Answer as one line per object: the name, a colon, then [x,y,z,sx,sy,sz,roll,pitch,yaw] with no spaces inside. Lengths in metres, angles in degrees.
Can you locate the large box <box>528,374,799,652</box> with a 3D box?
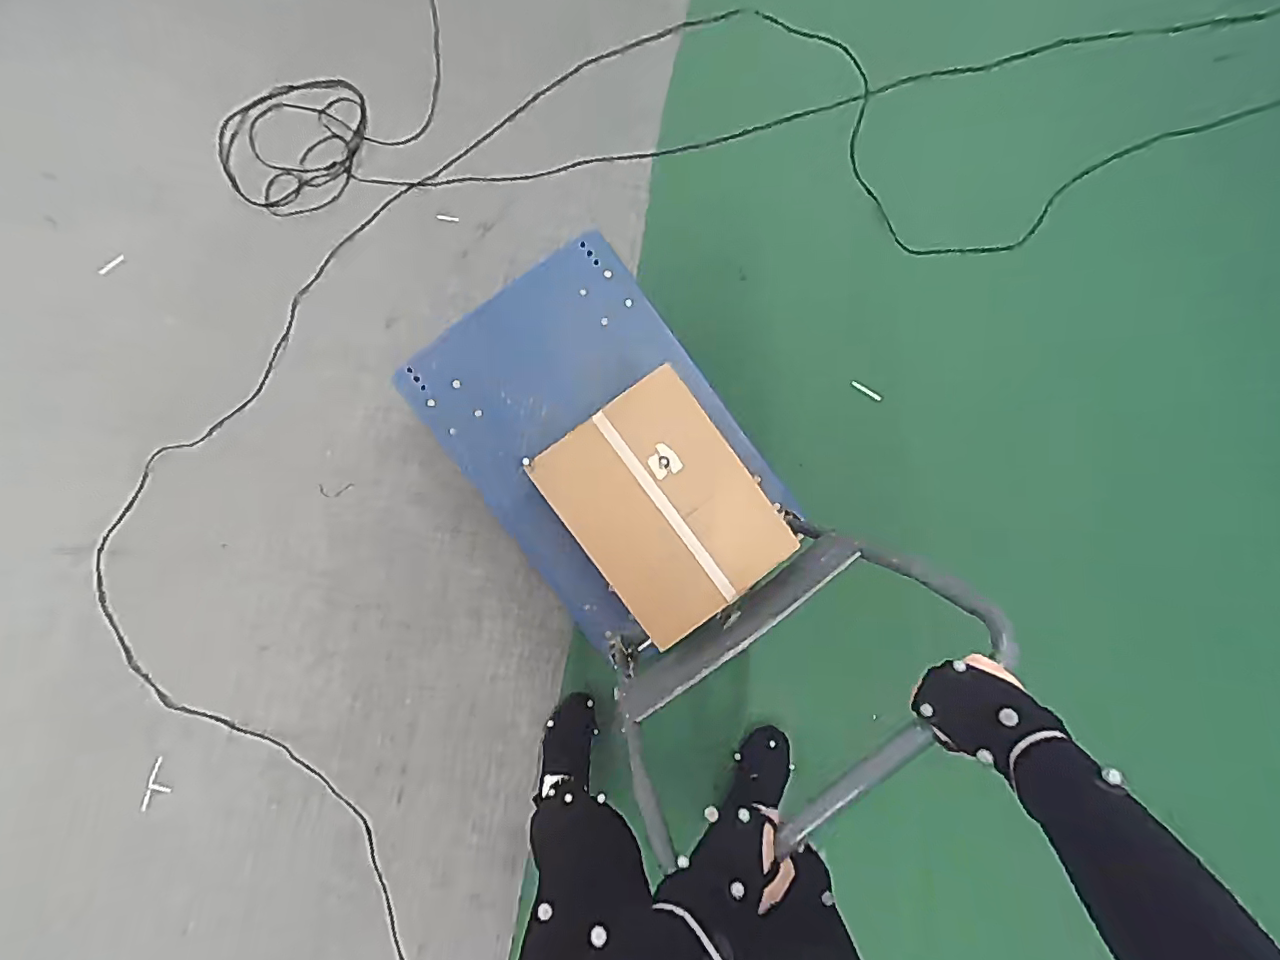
large box: [0.040,0.059,1.094,0.320,0.320,0.408,-37,91,-3]
